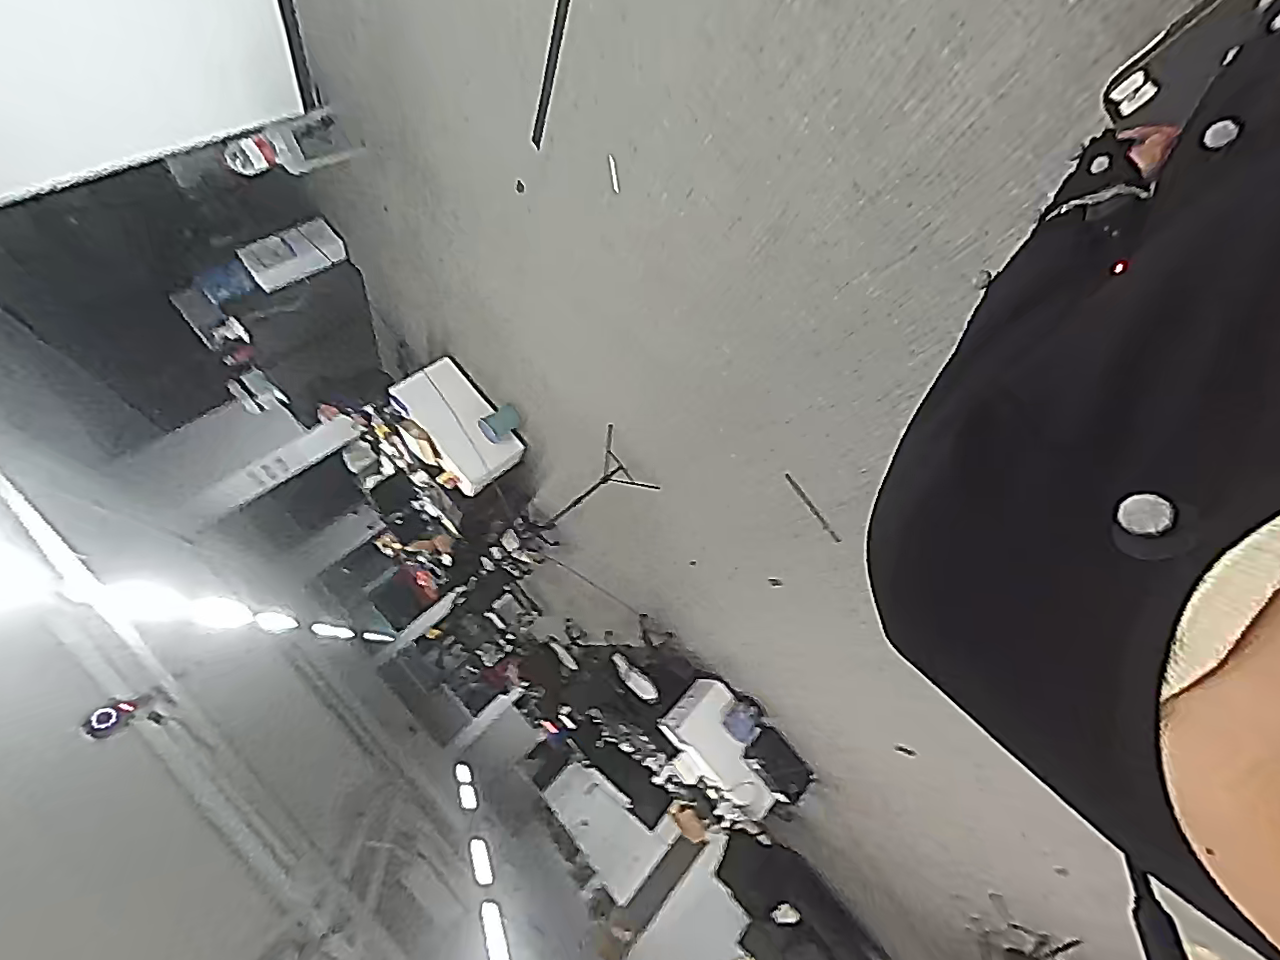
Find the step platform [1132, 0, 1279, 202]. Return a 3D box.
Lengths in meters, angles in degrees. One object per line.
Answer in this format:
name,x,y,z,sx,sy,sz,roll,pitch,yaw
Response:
step platform,1.084,-0.690,0.679,0.286,0.204,0.684,53,153,-4
